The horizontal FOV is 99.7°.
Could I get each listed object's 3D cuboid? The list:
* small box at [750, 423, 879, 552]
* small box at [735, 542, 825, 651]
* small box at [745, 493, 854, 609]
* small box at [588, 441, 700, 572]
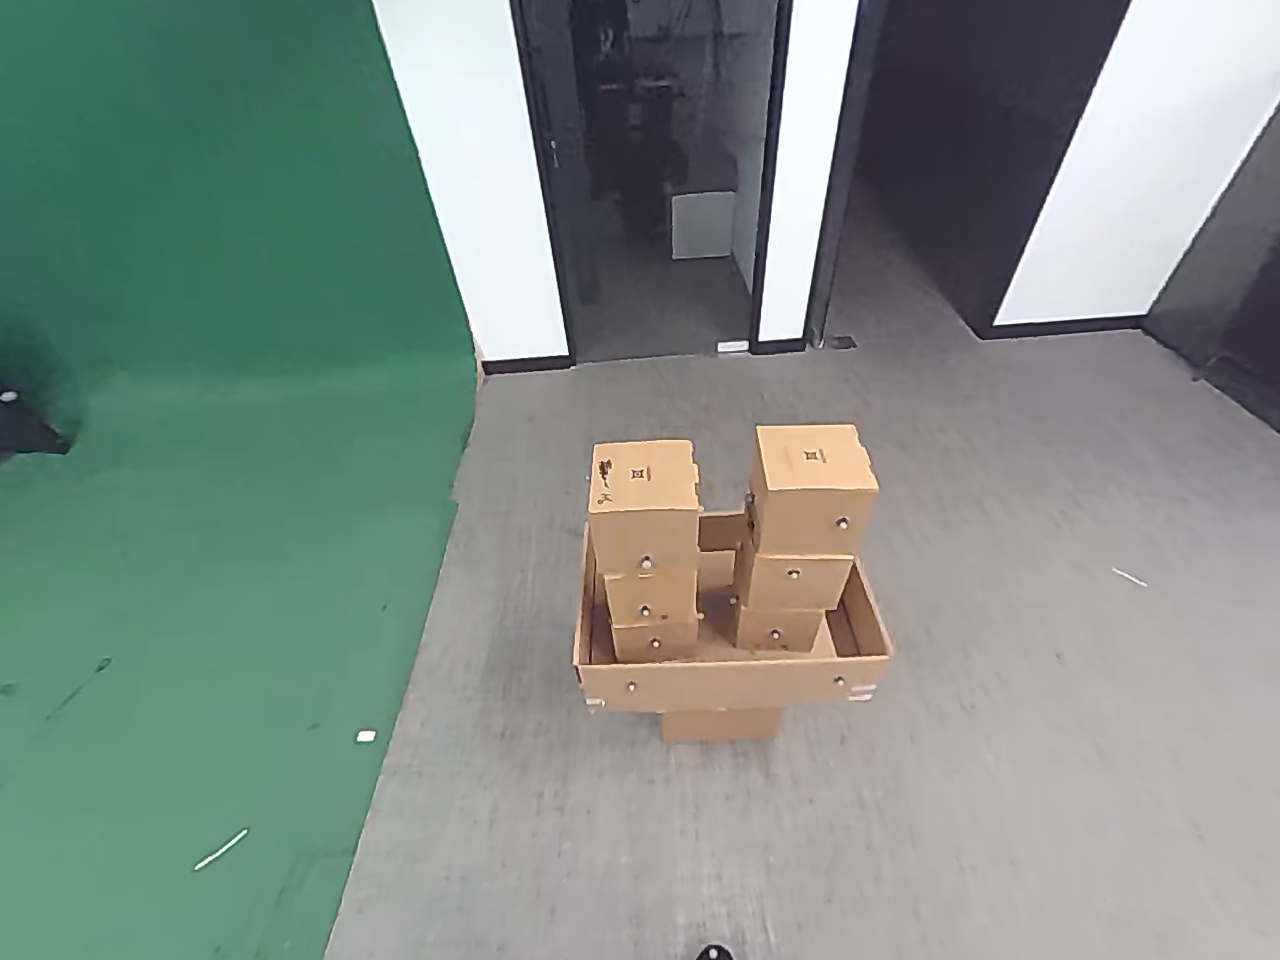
[{"bbox_3d":[0.296,0.015,0.957,0.179,0.176,0.168,-1,43,5],"label":"small box"},{"bbox_3d":[0.297,0.256,1.179,0.168,0.176,0.179,1,44,6],"label":"small box"},{"bbox_3d":[0.301,0.139,1.063,0.179,0.176,0.168,0,44,5],"label":"small box"},{"bbox_3d":[0.011,0.049,0.950,0.179,0.176,0.168,-2,43,3],"label":"small box"}]
